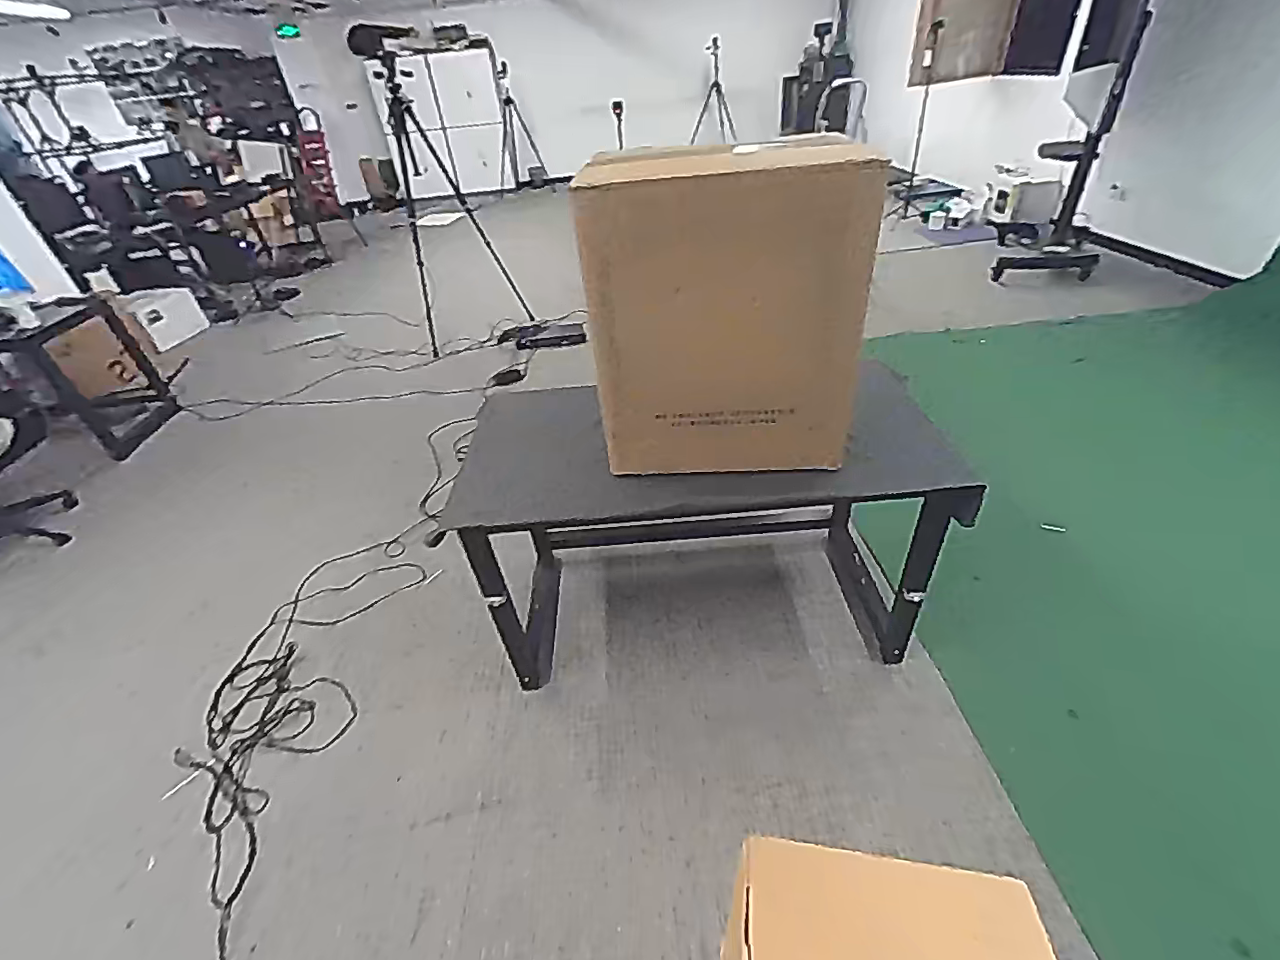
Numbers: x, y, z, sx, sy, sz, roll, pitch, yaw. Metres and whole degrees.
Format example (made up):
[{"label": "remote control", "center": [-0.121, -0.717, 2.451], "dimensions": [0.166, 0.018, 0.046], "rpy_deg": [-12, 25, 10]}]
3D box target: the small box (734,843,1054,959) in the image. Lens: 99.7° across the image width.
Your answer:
[{"label": "small box", "center": [0.147, 0.363, 0.327], "dimensions": [0.179, 0.176, 0.168], "rpy_deg": [4, 30, 8]}]
